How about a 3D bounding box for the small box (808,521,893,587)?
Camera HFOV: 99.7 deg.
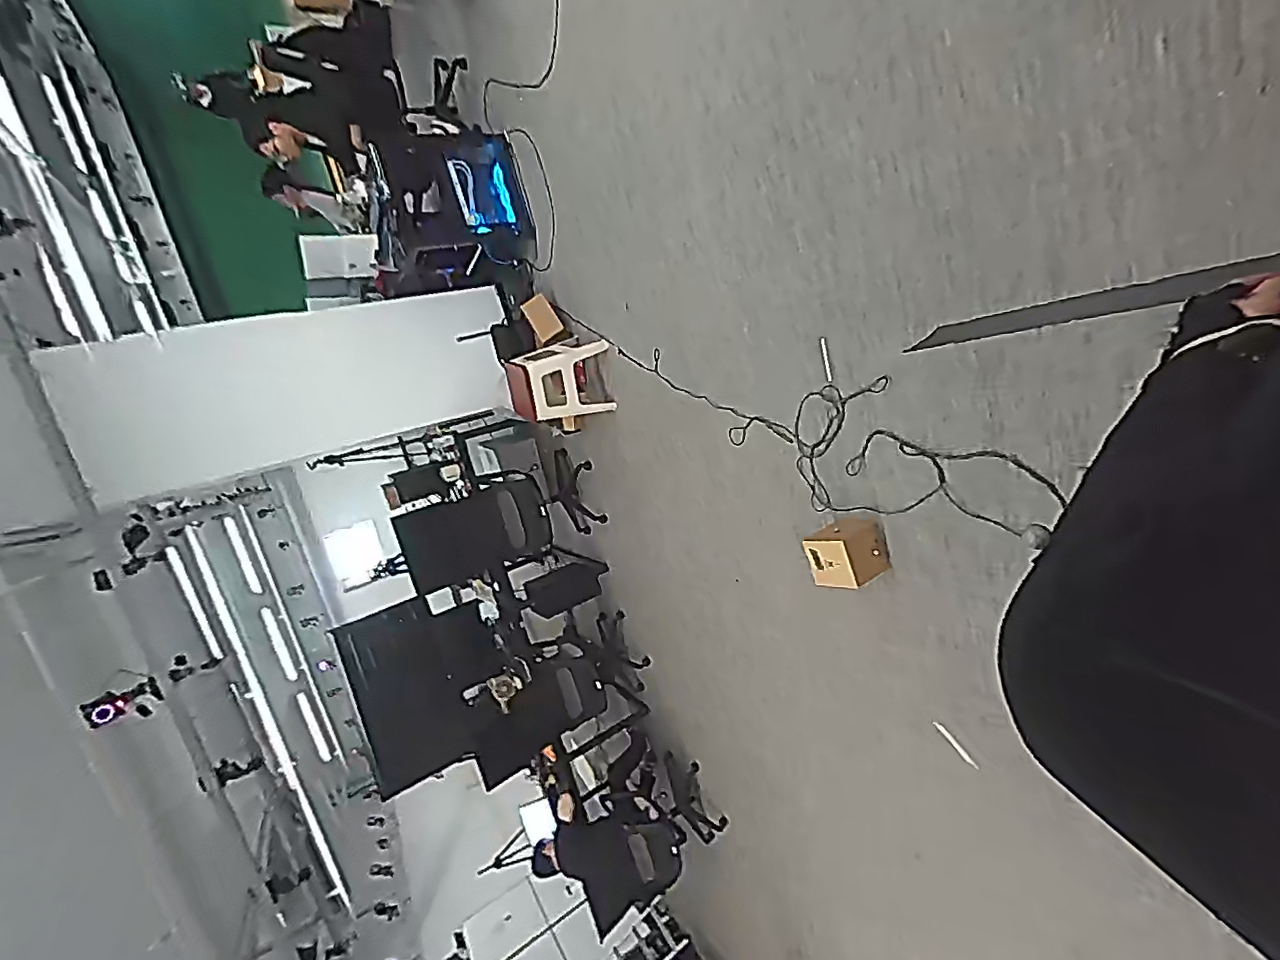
[{"bbox_3d":[0.699,0.239,1.792,0.179,0.176,0.168,-11,99,62],"label":"small box"}]
